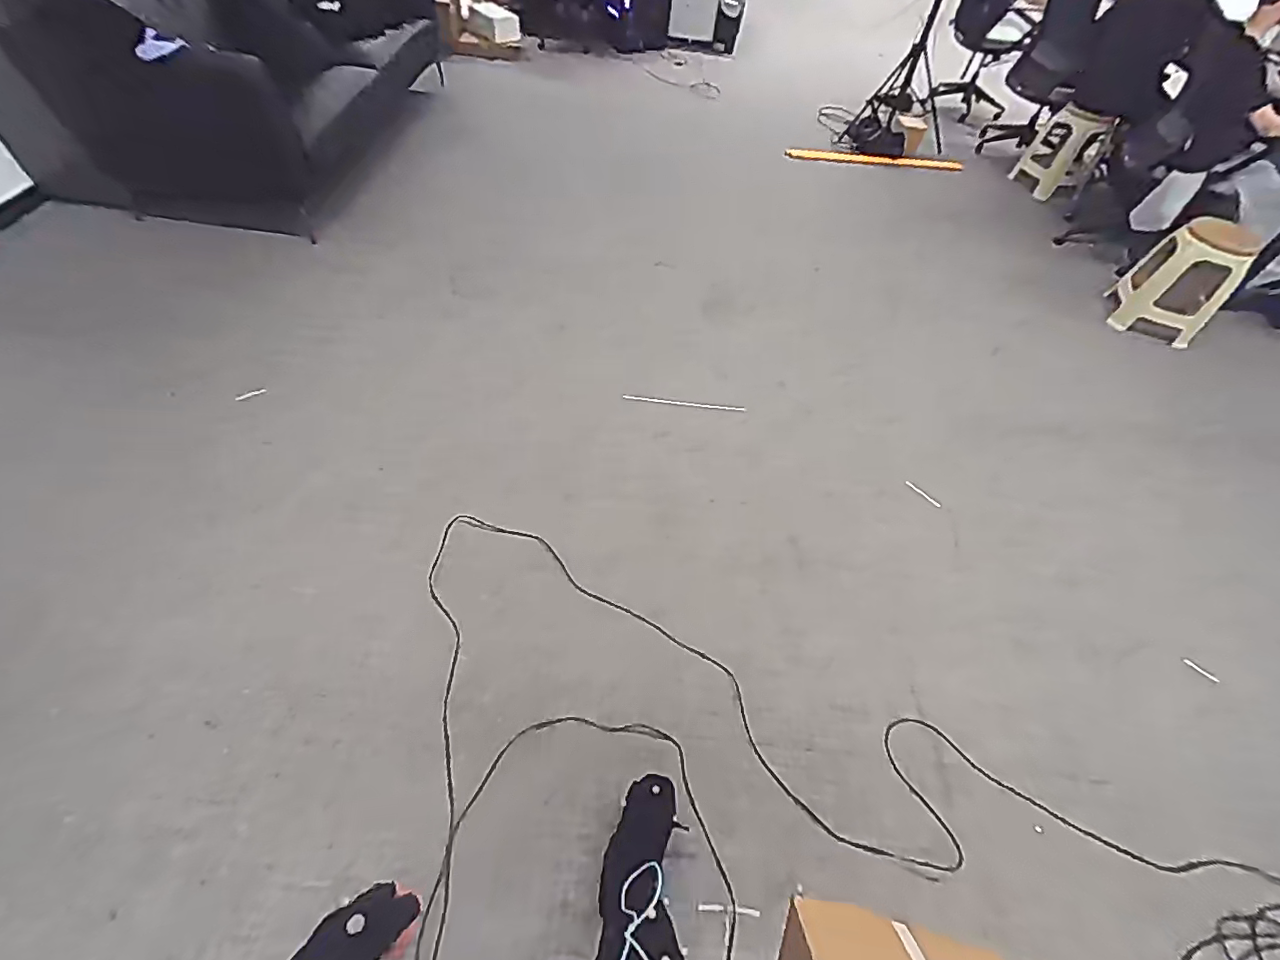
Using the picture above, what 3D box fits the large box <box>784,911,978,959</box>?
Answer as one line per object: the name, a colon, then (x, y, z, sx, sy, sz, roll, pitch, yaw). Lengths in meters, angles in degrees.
large box: (0.336, 0.813, 0.597, 0.320, 0.408, 0.320, 15, 87, 3)
